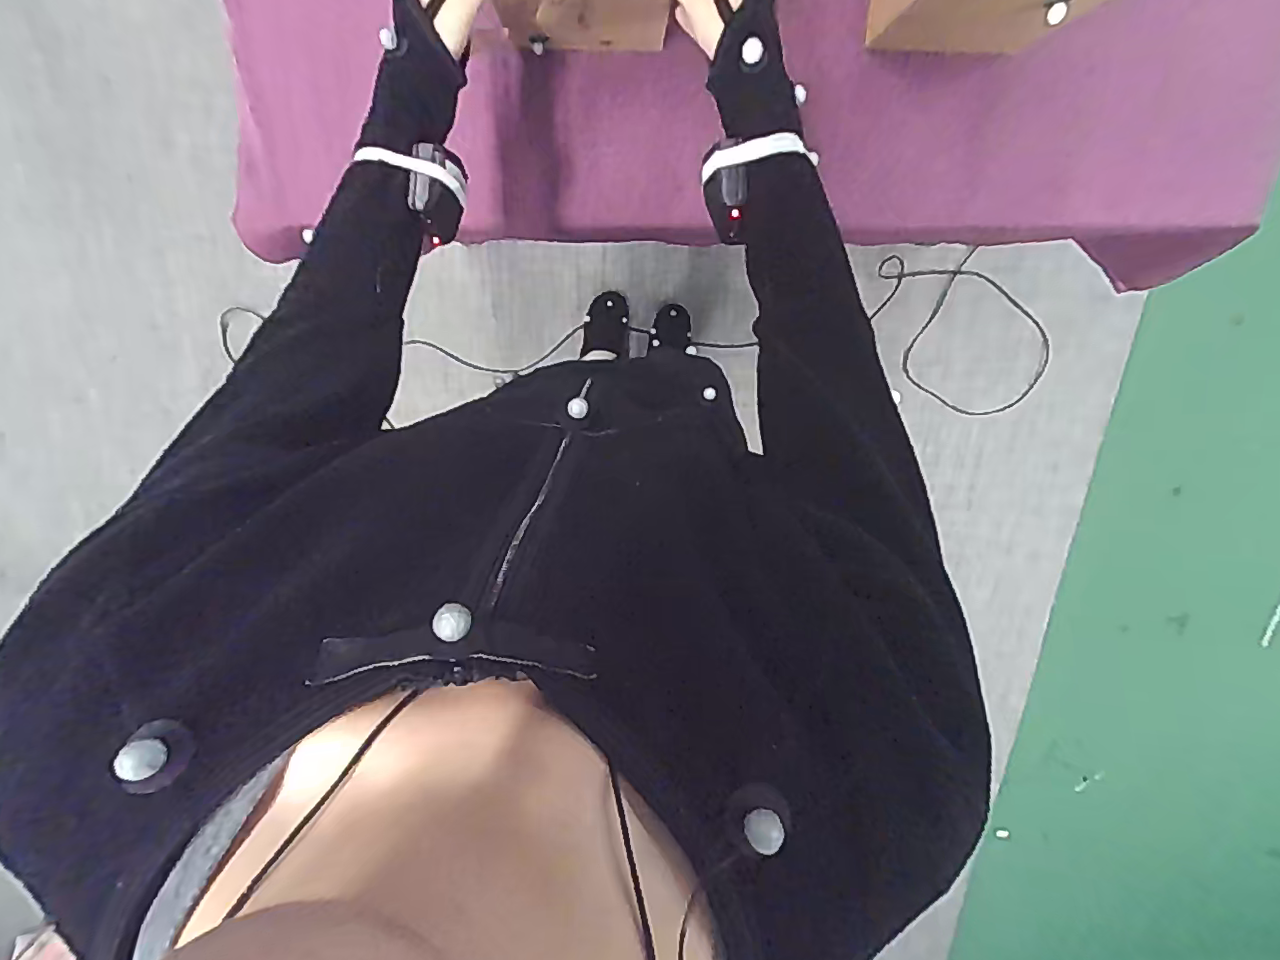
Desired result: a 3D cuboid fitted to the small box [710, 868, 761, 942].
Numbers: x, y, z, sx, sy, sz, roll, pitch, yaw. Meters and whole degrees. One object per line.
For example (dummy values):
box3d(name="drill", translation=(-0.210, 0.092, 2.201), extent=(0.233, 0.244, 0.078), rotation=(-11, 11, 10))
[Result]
box3d(name="small box", translation=(0.368, 1.662, 2.117), extent=(0.168, 0.176, 0.179), rotation=(-1, 110, -2))

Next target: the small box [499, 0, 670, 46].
box3d(name="small box", translation=(-0.051, -0.524, 0.486), extent=(0.168, 0.176, 0.179), rotation=(-1, 110, -2))

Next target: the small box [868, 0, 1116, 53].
box3d(name="small box", translation=(0.342, -0.526, 0.499), extent=(0.179, 0.176, 0.168), rotation=(1, 110, -3))
